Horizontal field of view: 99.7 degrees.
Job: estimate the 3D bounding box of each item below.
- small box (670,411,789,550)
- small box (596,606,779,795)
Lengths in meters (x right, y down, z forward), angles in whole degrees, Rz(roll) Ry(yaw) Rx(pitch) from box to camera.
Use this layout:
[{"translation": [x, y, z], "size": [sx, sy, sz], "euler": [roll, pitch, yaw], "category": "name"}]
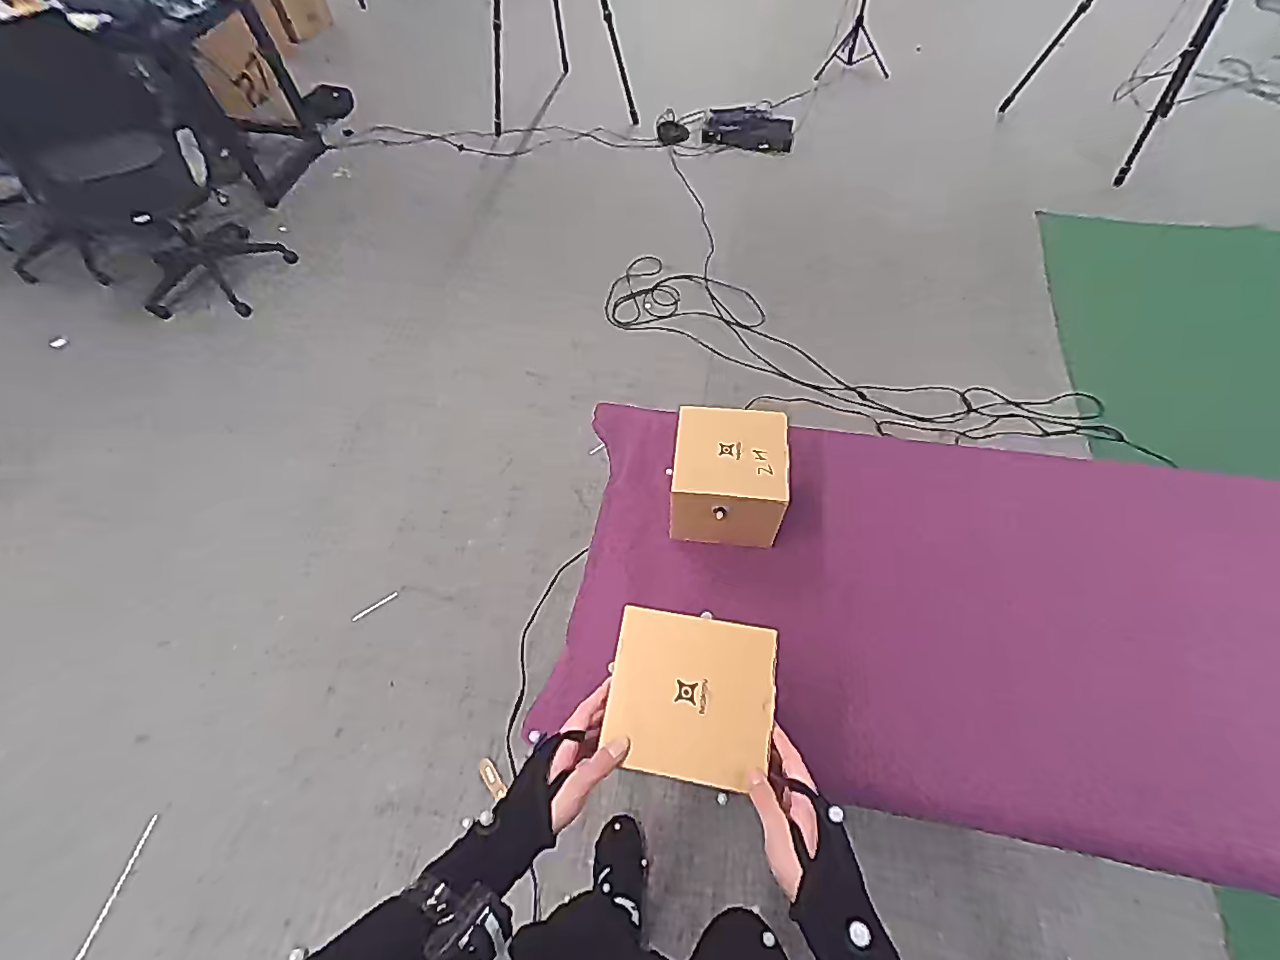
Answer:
[{"translation": [0.144, 0.005, 0.898], "size": [0.179, 0.176, 0.168], "euler": [5, 59, 6], "category": "small box"}, {"translation": [0.058, 0.265, 0.641], "size": [0.179, 0.176, 0.168], "euler": [8, 61, 7], "category": "small box"}]
